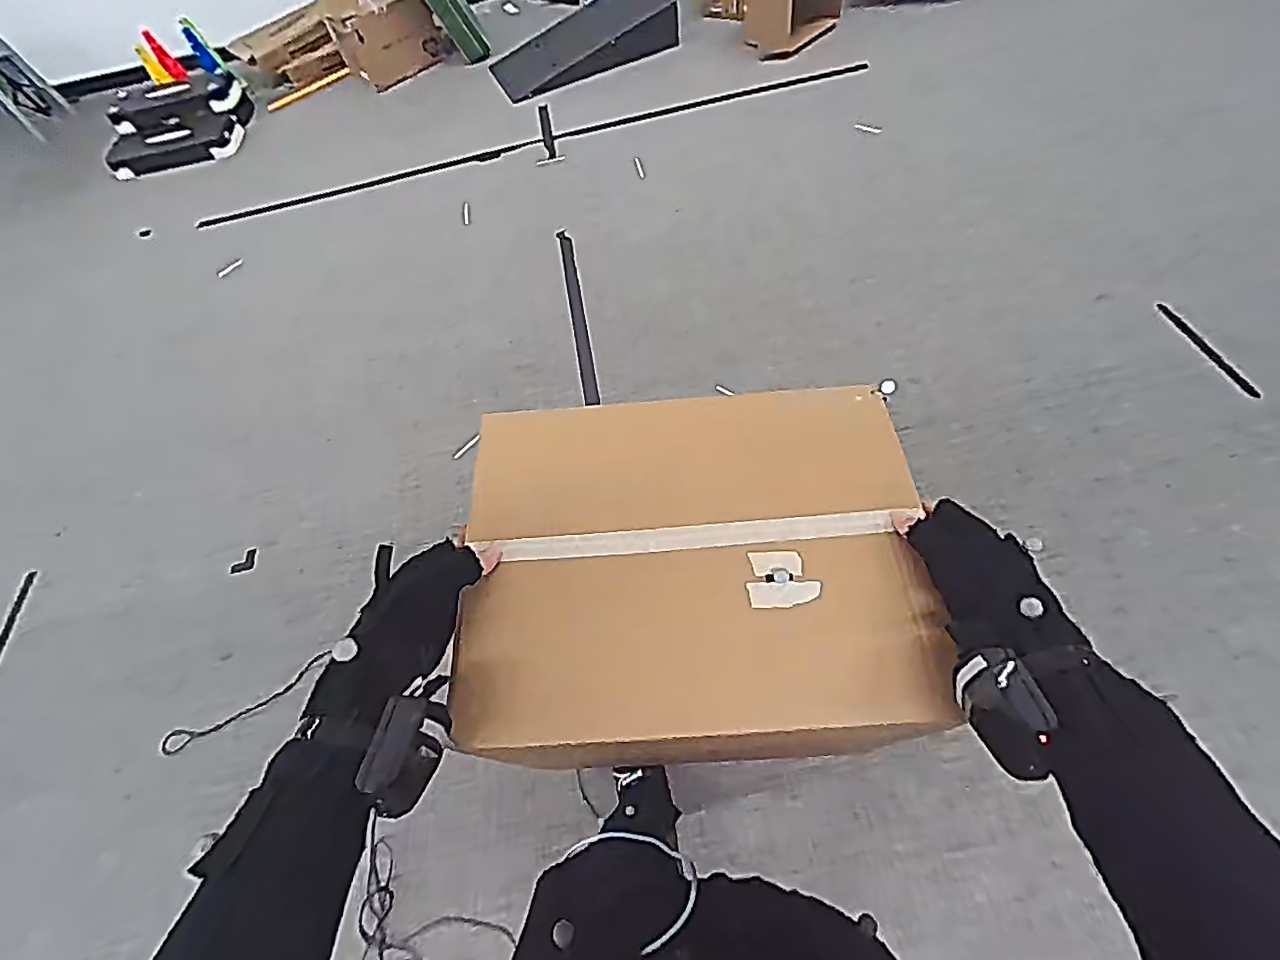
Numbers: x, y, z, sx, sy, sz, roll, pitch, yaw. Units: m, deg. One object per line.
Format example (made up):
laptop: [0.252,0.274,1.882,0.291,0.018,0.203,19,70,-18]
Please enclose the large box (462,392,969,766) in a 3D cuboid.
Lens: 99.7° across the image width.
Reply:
large box: [0.054,0.130,0.619,0.408,0.320,0.320,-4,59,1]
